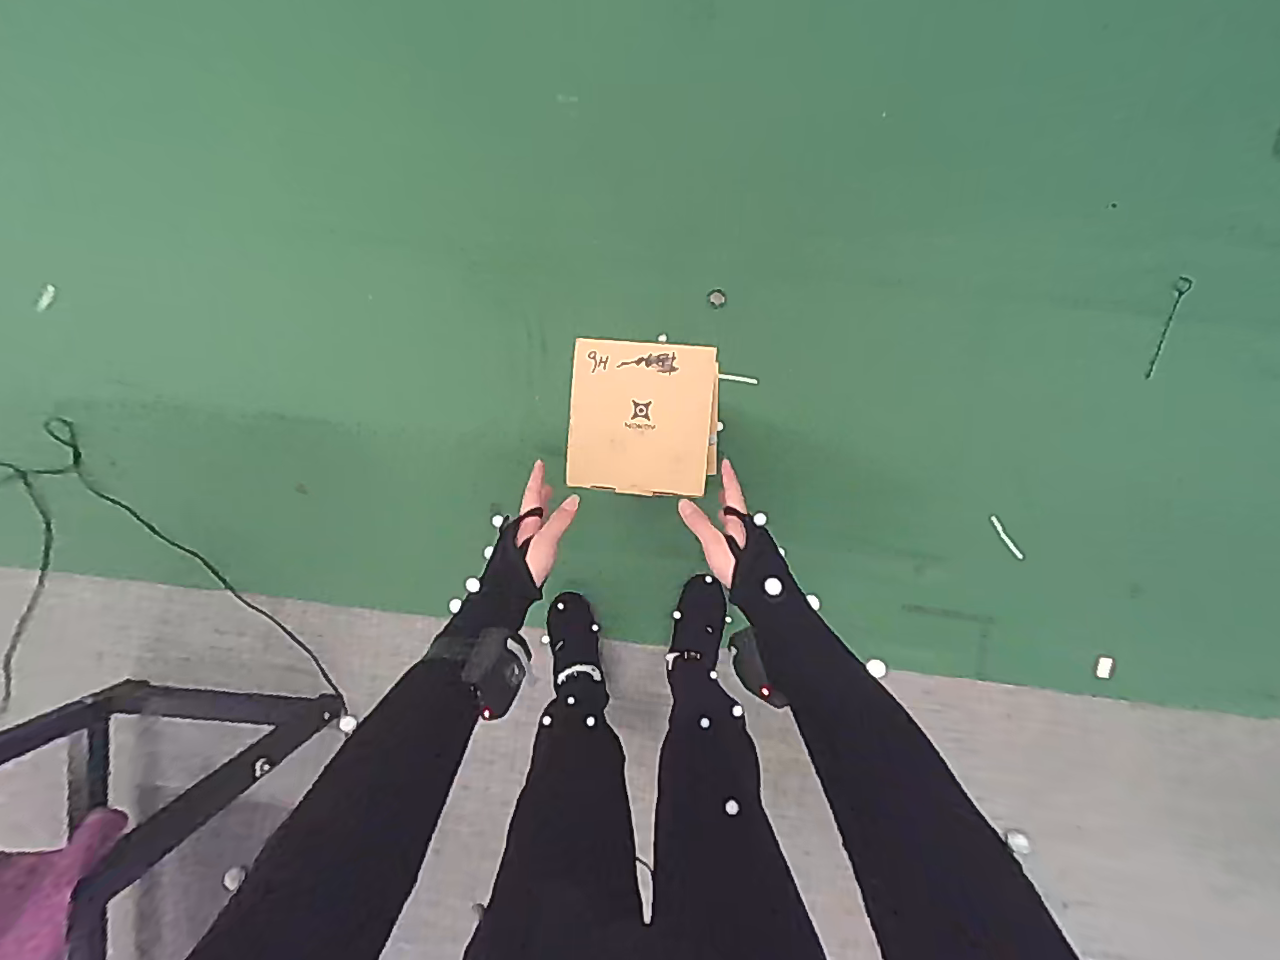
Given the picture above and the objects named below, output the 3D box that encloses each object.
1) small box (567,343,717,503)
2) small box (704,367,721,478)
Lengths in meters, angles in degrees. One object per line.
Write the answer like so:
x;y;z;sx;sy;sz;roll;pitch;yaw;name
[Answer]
0.007;-0.072;0.708;0.168;0.176;0.179;5;94;4;small box
0.035;-0.089;0.869;0.179;0.176;0.168;1;93;4;small box
